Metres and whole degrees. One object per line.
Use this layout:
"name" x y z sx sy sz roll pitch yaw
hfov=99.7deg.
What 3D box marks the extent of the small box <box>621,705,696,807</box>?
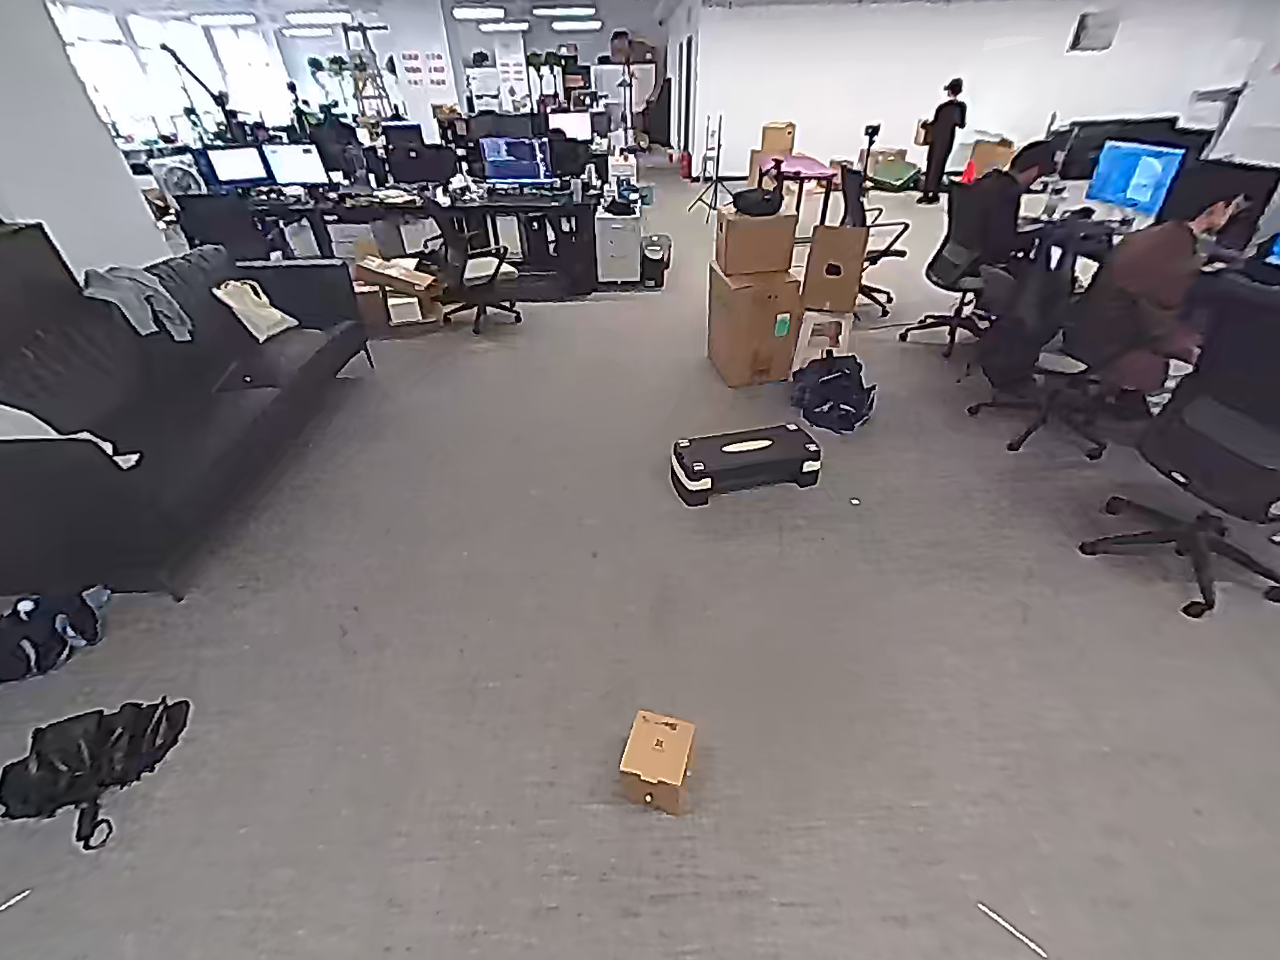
"small box" 0.058 0.758 1.482 0.168 0.176 0.179 8 39 15
